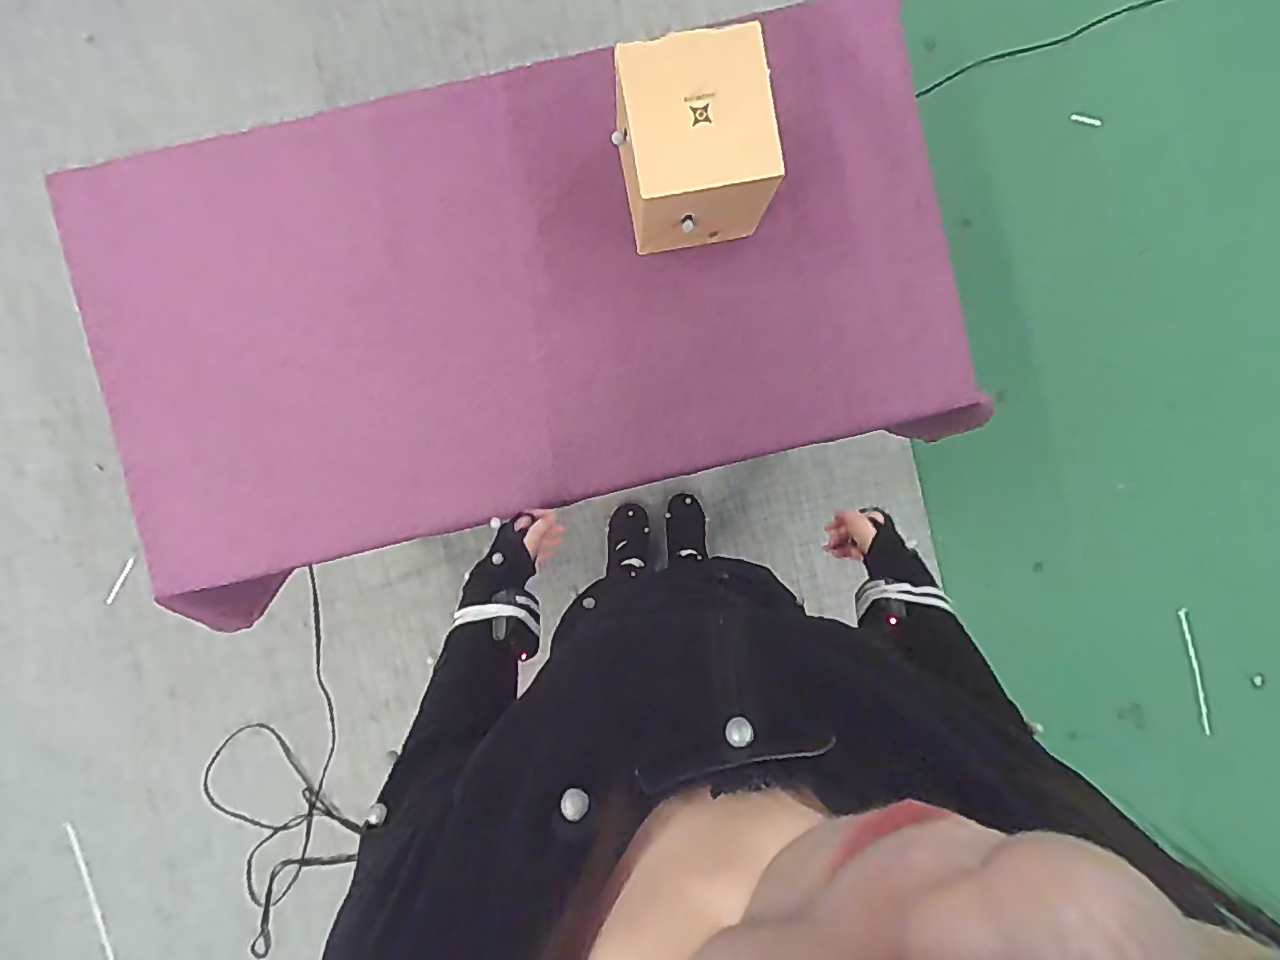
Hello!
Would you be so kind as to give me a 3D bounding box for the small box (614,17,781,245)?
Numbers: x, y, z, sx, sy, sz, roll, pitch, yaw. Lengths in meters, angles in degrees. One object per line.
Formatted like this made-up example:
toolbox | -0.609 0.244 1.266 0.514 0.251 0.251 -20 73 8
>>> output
small box | 0.066 -0.416 0.681 0.168 0.176 0.179 -10 91 0
